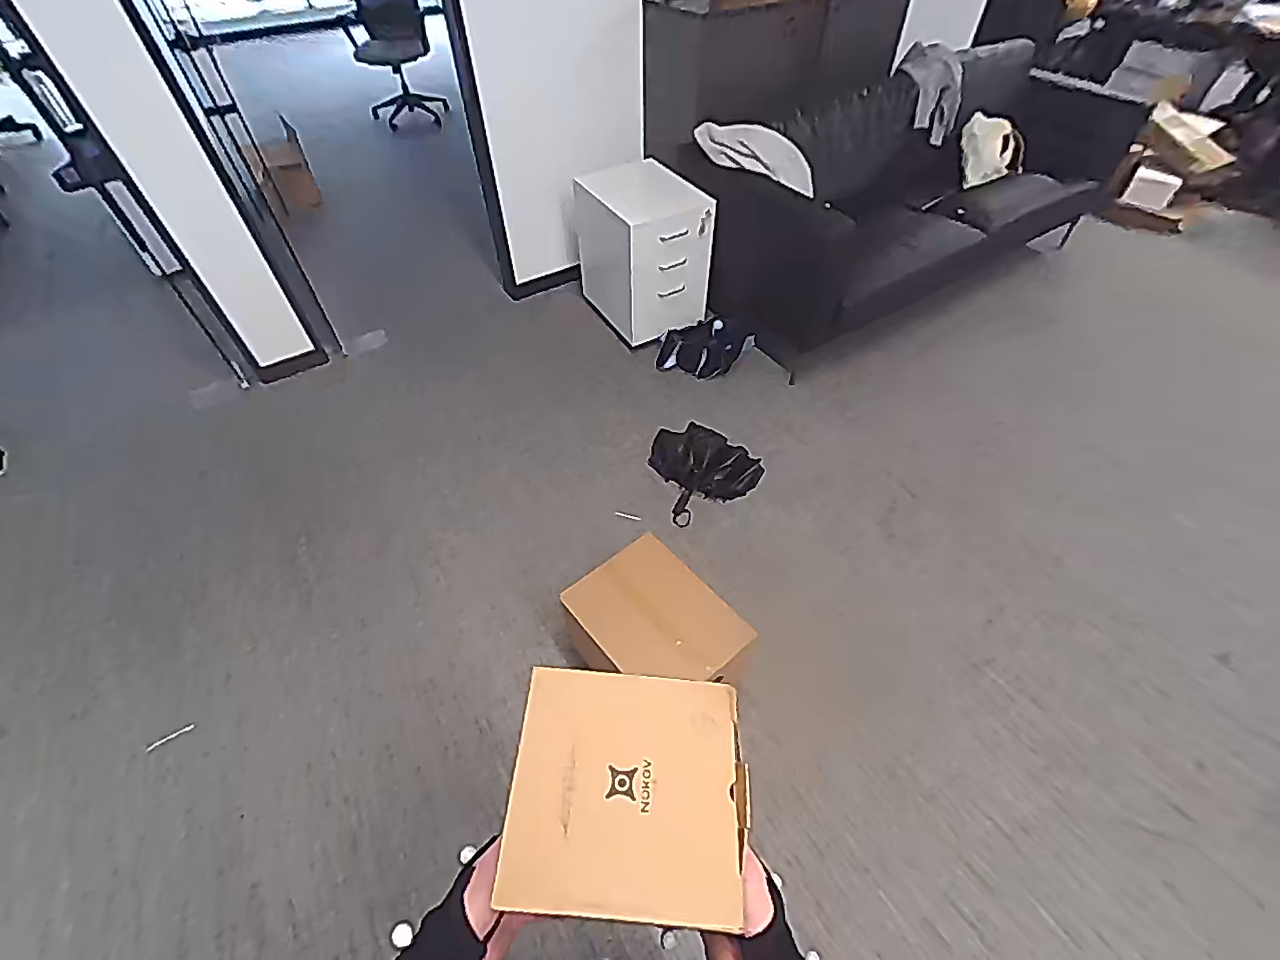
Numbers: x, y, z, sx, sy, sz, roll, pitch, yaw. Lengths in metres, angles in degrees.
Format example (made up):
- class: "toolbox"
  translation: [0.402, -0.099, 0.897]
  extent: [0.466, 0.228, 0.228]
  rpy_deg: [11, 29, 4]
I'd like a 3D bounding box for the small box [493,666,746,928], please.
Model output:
- class: "small box"
  translation: [-0.013, 0.279, 0.477]
  extent: [0.179, 0.176, 0.168]
  rpy_deg: [4, 52, 0]
